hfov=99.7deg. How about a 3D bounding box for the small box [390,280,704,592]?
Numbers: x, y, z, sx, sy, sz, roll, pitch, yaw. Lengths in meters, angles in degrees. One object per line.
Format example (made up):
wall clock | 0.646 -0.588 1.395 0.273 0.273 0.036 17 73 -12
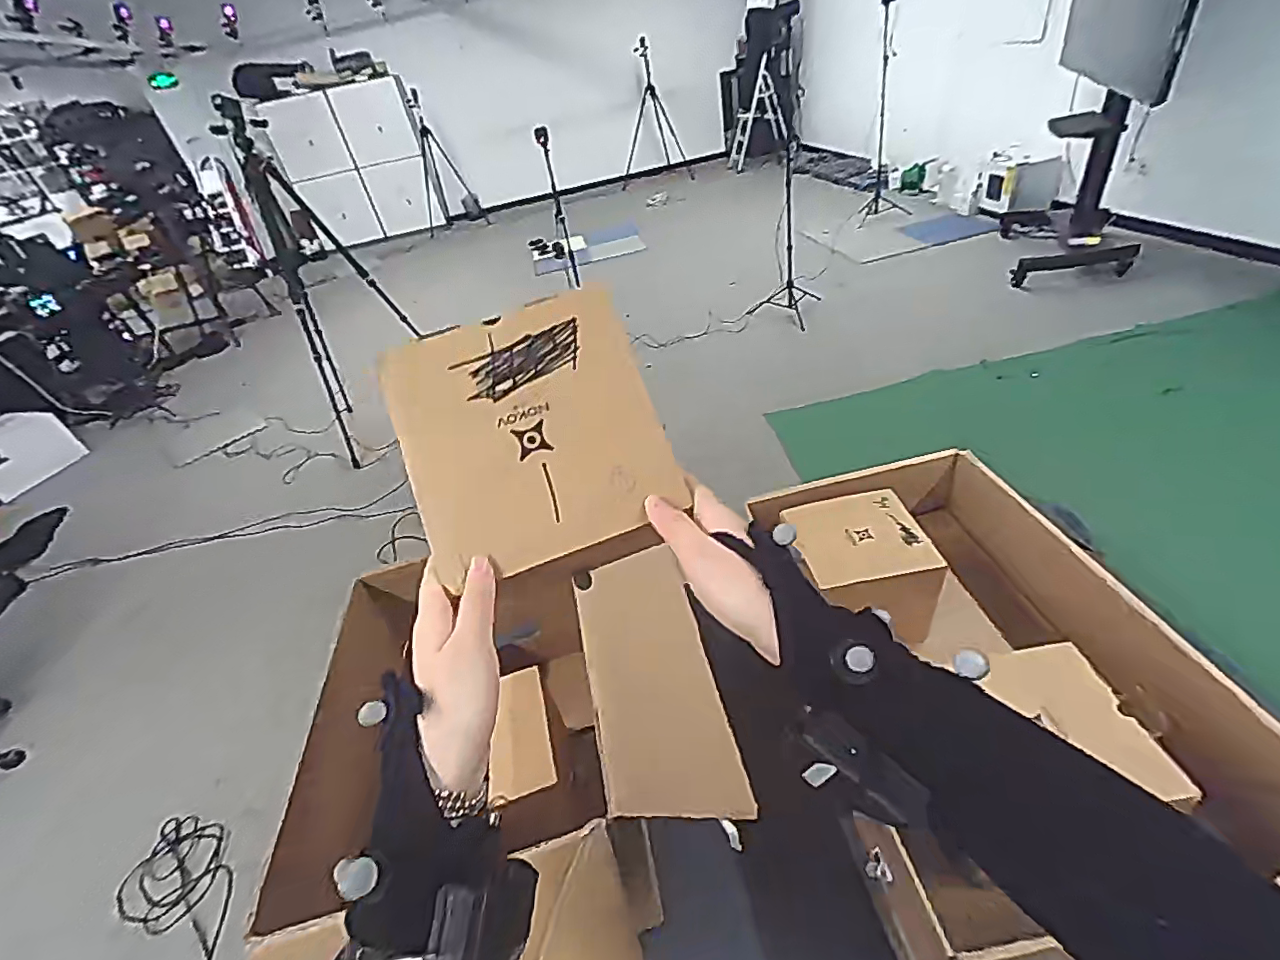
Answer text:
small box | -0.066 -0.019 0.430 0.168 0.176 0.179 -20 80 -5
